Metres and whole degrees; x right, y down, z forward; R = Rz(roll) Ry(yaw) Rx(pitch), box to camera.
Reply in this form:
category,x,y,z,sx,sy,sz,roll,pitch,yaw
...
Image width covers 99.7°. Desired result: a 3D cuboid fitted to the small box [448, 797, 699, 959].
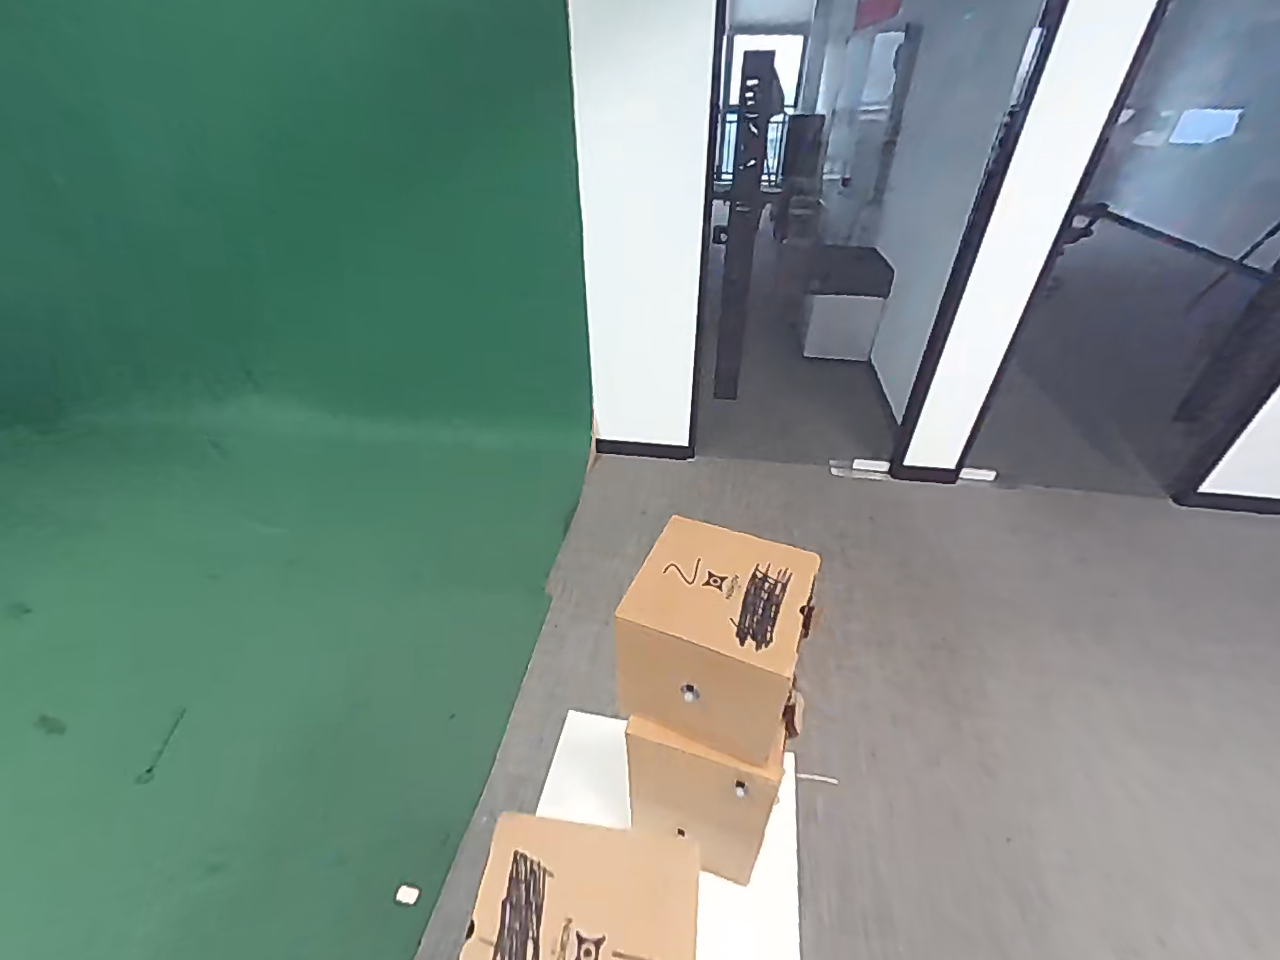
category,x,y,z,sx,sy,sz,roll,pitch,yaw
small box,-0.048,0.395,0.447,0.179,0.176,0.168,6,39,6

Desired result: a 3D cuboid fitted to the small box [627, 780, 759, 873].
category,x,y,z,sx,sy,sz,roll,pitch,yaw
small box,0.090,0.438,0.795,0.179,0.176,0.168,11,39,15

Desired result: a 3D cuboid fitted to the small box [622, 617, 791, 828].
category,x,y,z,sx,sy,sz,roll,pitch,yaw
small box,0.086,0.309,0.695,0.179,0.176,0.168,11,39,14
